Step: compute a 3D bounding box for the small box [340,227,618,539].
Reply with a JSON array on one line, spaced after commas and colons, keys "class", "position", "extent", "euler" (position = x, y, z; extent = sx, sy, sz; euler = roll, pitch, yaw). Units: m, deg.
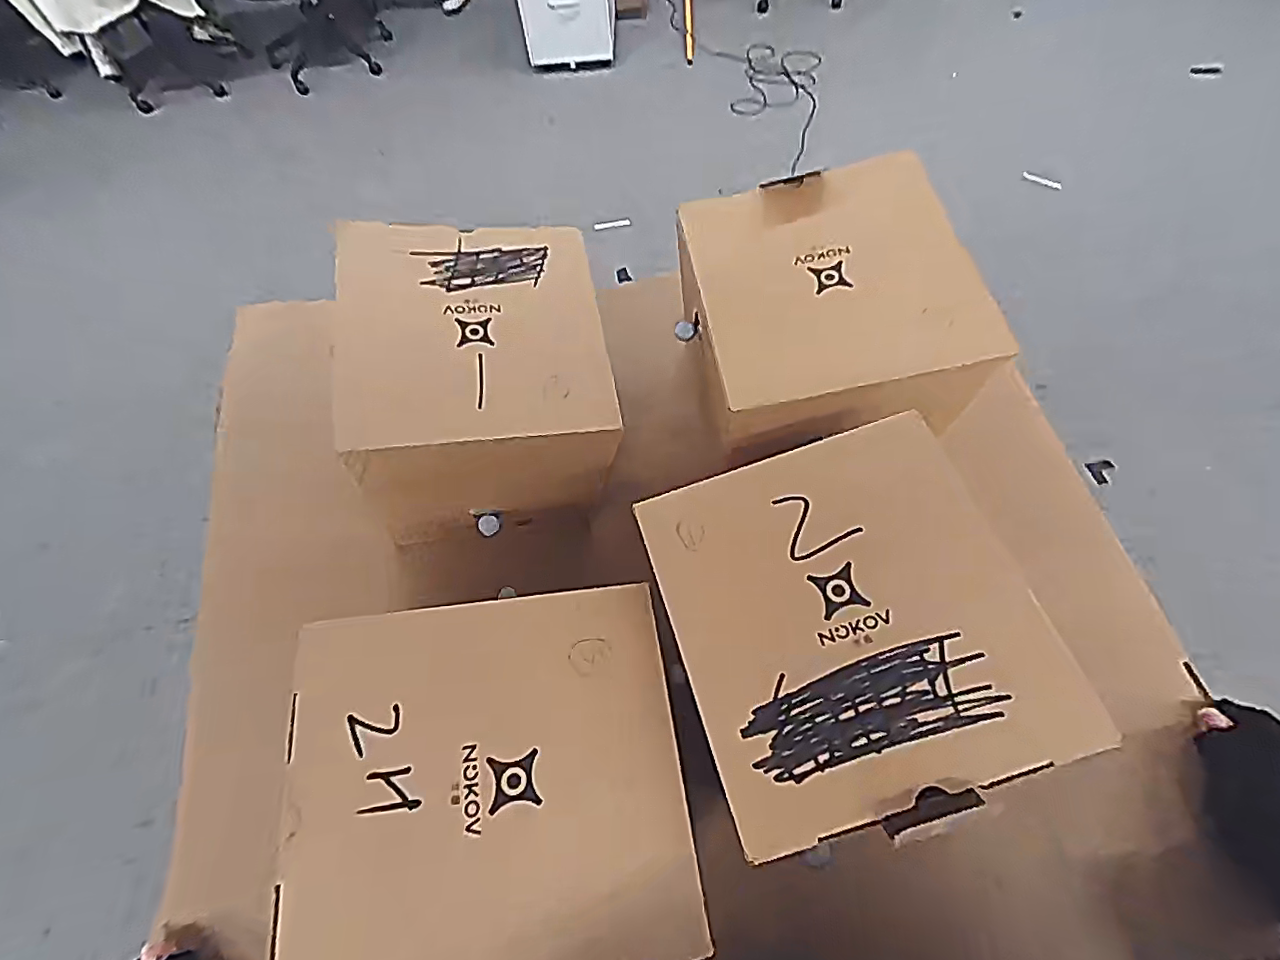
[{"class": "small box", "position": [-0.124, -0.072, 0.431], "extent": [0.168, 0.176, 0.179], "euler": [-8, 65, -14]}]

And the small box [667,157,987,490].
[{"class": "small box", "position": [0.123, -0.104, 0.426], "extent": [0.168, 0.176, 0.179], "euler": [-12, 65, 3]}]
